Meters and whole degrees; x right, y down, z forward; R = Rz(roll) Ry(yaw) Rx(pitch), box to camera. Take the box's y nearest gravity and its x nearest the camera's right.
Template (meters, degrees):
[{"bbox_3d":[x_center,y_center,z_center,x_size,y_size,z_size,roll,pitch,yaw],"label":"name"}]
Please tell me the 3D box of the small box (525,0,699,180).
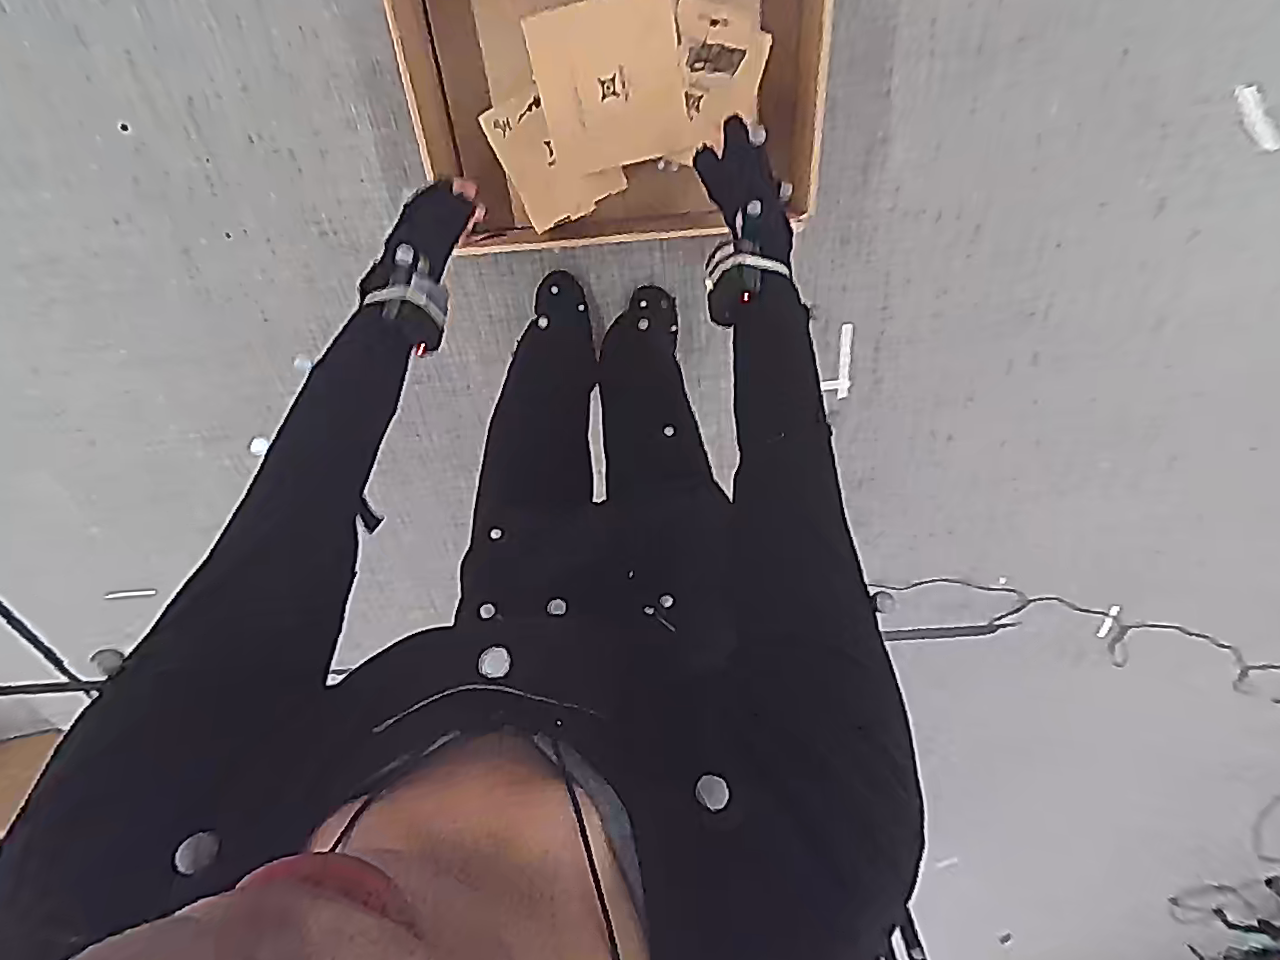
[{"bbox_3d":[-0.028,-0.502,0.697,0.179,0.176,0.168,-10,121,7],"label":"small box"}]
